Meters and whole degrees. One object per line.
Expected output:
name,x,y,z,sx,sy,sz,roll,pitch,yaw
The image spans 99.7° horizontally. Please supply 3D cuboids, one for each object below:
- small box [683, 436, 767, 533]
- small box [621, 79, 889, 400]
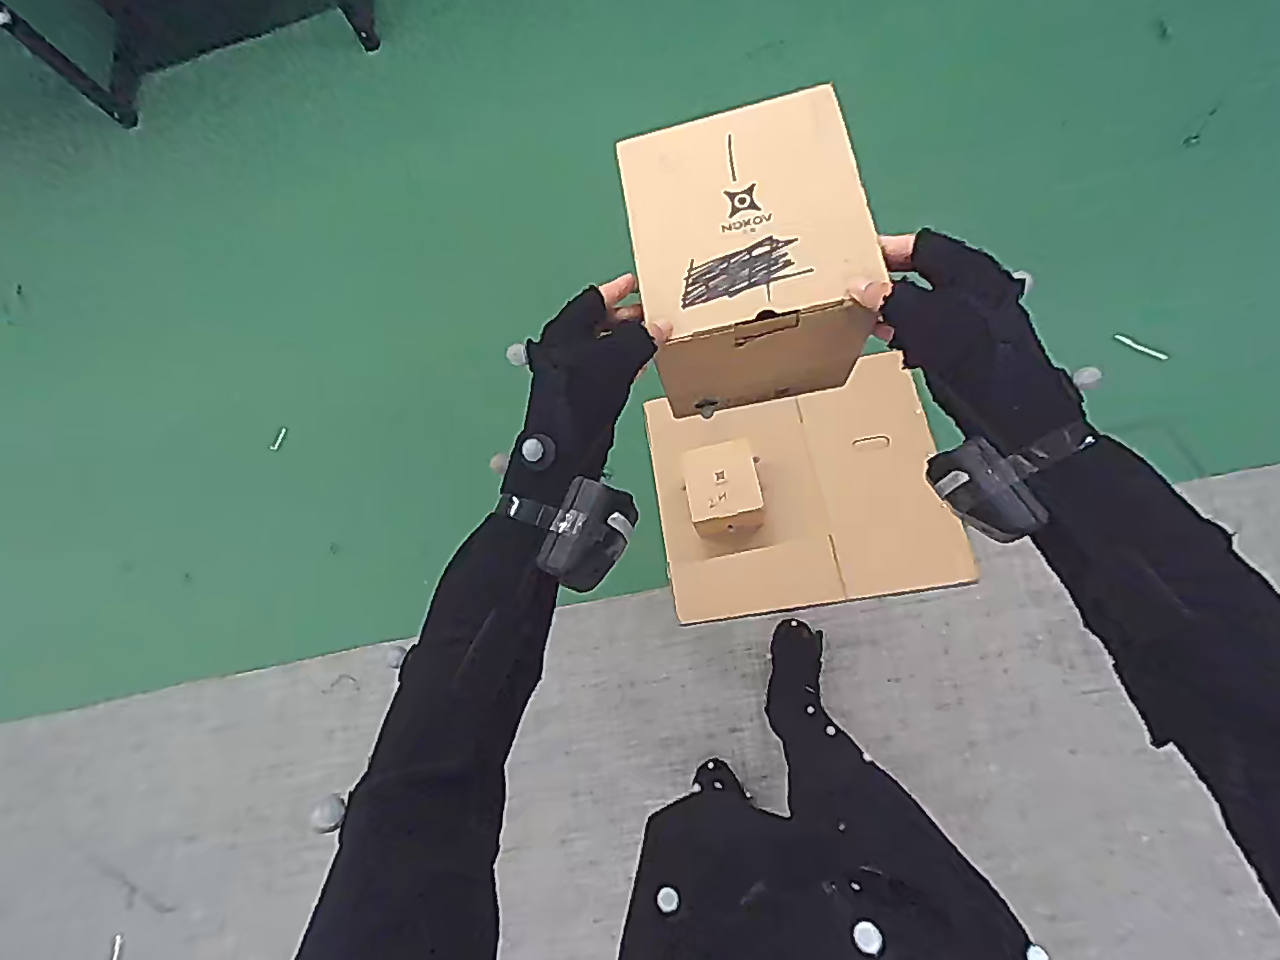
small box,0.205,0.016,1.302,0.168,0.176,0.179,-12,71,9
small box,0.090,-0.180,0.463,0.168,0.176,0.179,-11,76,8
